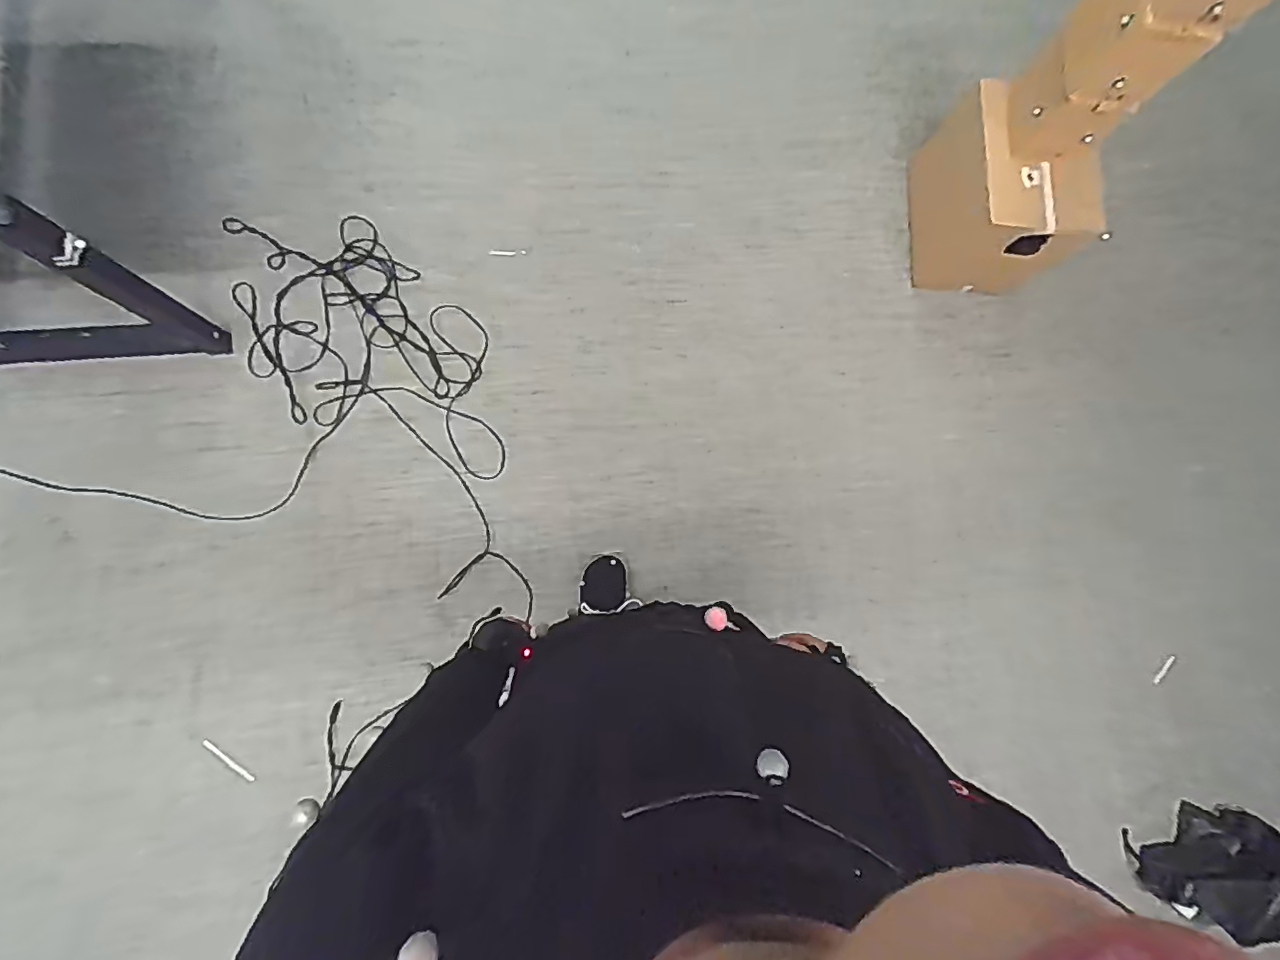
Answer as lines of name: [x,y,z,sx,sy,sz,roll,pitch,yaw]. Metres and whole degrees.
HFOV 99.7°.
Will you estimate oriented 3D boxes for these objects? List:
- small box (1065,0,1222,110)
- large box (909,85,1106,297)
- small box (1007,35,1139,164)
small box: [1.004,-0.902,1.093,0.168,0.176,0.179,4,82,-7]
large box: [0.977,-0.768,1.482,0.320,0.320,0.408,2,82,-5]
small box: [0.992,-0.871,1.253,0.168,0.176,0.179,2,81,-7]
